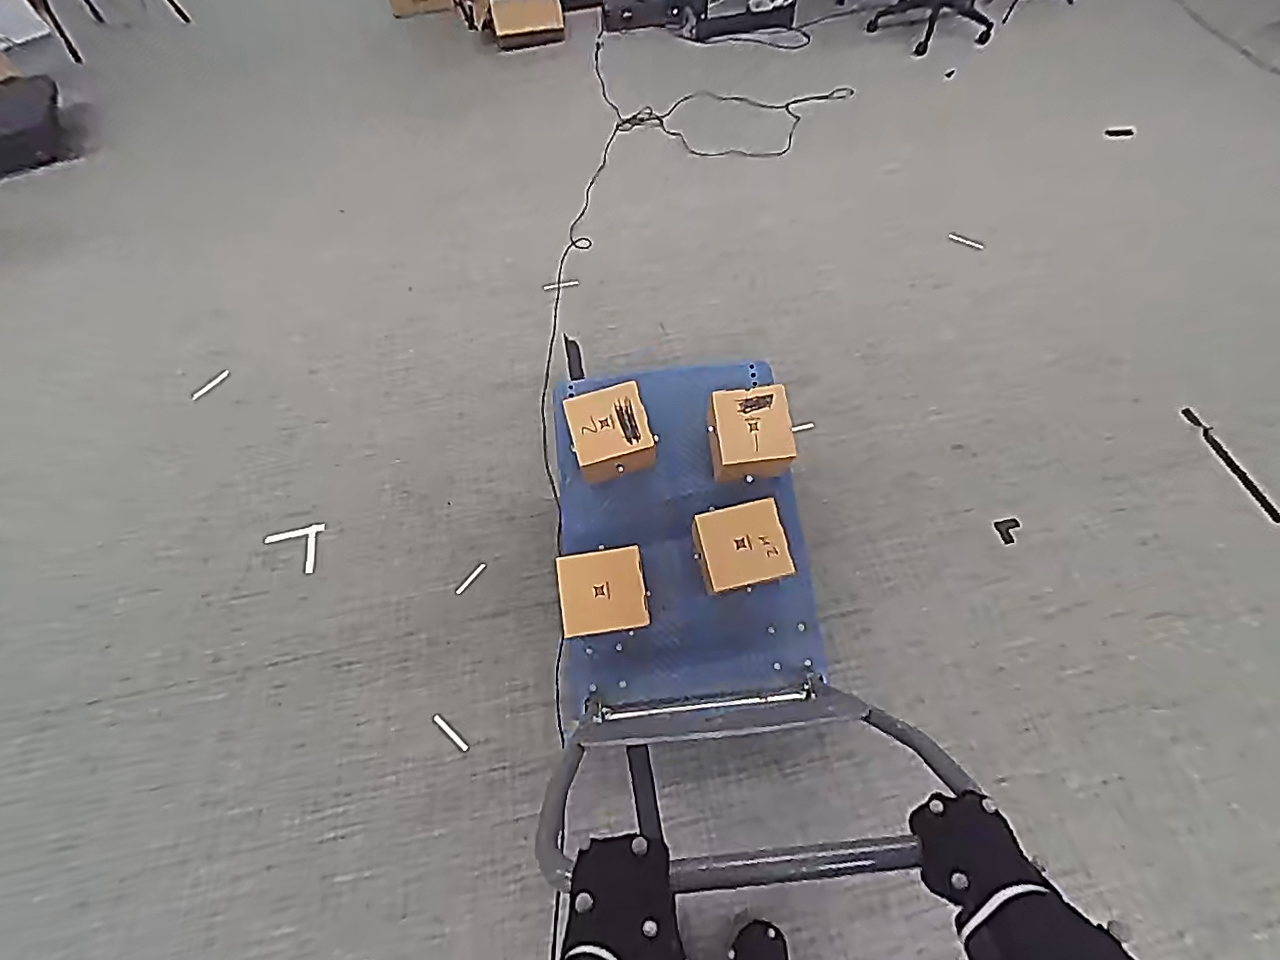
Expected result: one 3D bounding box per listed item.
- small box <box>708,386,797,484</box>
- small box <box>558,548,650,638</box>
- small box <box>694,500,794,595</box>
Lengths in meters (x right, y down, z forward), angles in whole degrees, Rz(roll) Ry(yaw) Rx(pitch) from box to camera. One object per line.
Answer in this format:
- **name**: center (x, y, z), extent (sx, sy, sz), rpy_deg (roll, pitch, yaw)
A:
- **small box**: center (0.256, -0.101, 1.274), extent (0.168, 0.176, 0.179), rpy_deg (-7, 76, 1)
- **small box**: center (-0.074, 0.254, 1.193), extent (0.179, 0.176, 0.168), rpy_deg (-9, 74, -1)
- **small box**: center (0.222, 0.157, 1.205), extent (0.179, 0.176, 0.168), rpy_deg (-13, 75, -1)
